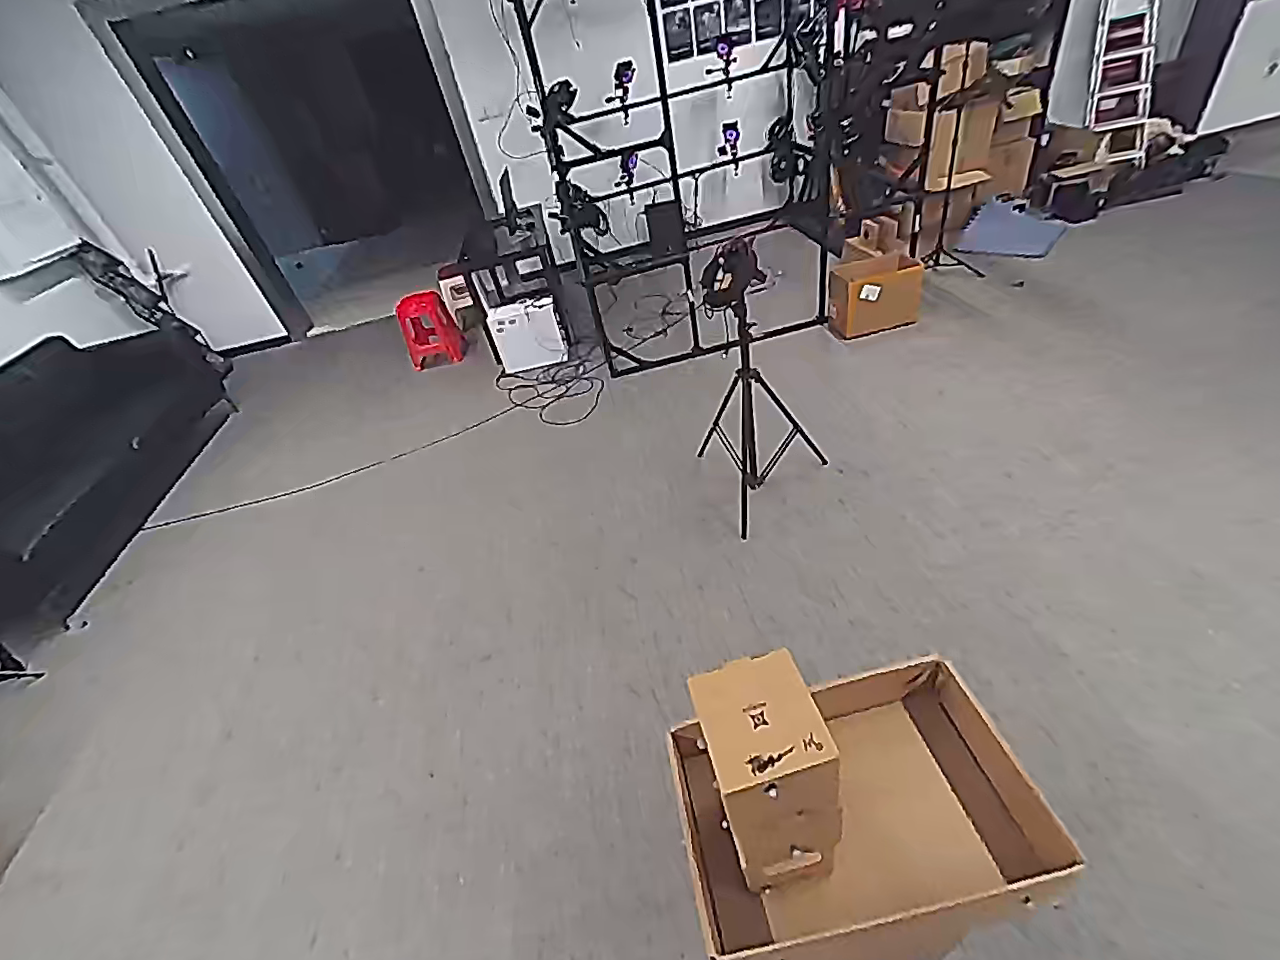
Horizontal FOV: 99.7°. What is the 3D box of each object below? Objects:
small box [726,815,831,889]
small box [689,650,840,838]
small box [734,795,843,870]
[{"bbox_3d":[0.252,0.642,1.023,0.168,0.176,0.179,-16,38,0],"label":"small box"},{"bbox_3d":[0.183,0.396,0.815,0.168,0.176,0.179,-17,37,-1],"label":"small box"},{"bbox_3d":[0.224,0.519,0.917,0.168,0.176,0.179,-17,39,-1],"label":"small box"}]
